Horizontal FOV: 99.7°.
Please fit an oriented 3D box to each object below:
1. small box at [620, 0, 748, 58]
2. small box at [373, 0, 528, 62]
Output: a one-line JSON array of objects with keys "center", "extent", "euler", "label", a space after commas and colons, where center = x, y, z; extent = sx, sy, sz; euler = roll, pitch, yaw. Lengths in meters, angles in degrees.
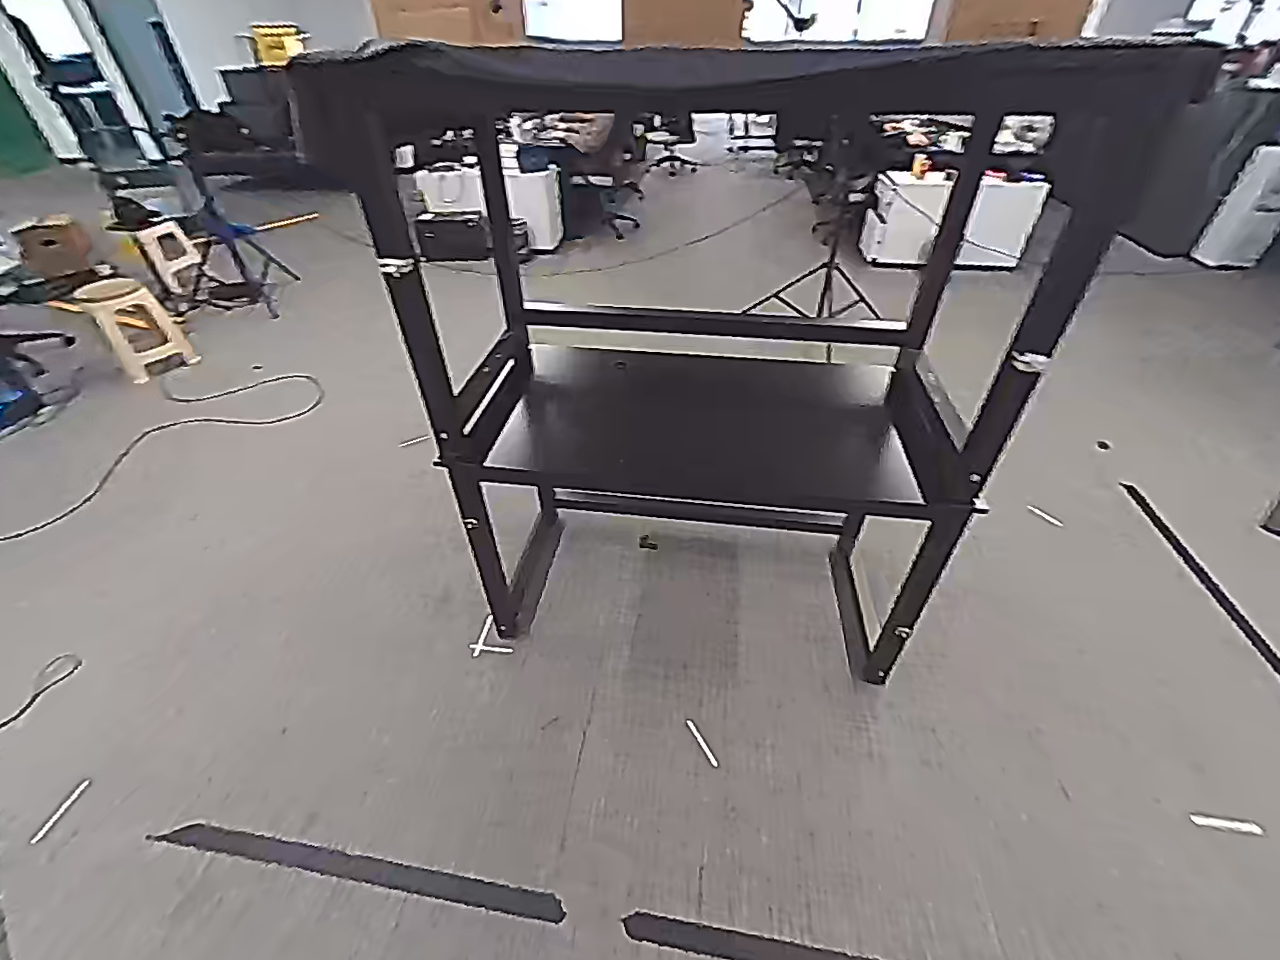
[{"center": [0.065, -0.710, 0.767], "extent": [0.179, 0.176, 0.168], "euler": [3, 39, 4], "label": "small box"}, {"center": [-0.287, -0.738, 0.808], "extent": [0.179, 0.176, 0.168], "euler": [11, 38, 13], "label": "small box"}]
